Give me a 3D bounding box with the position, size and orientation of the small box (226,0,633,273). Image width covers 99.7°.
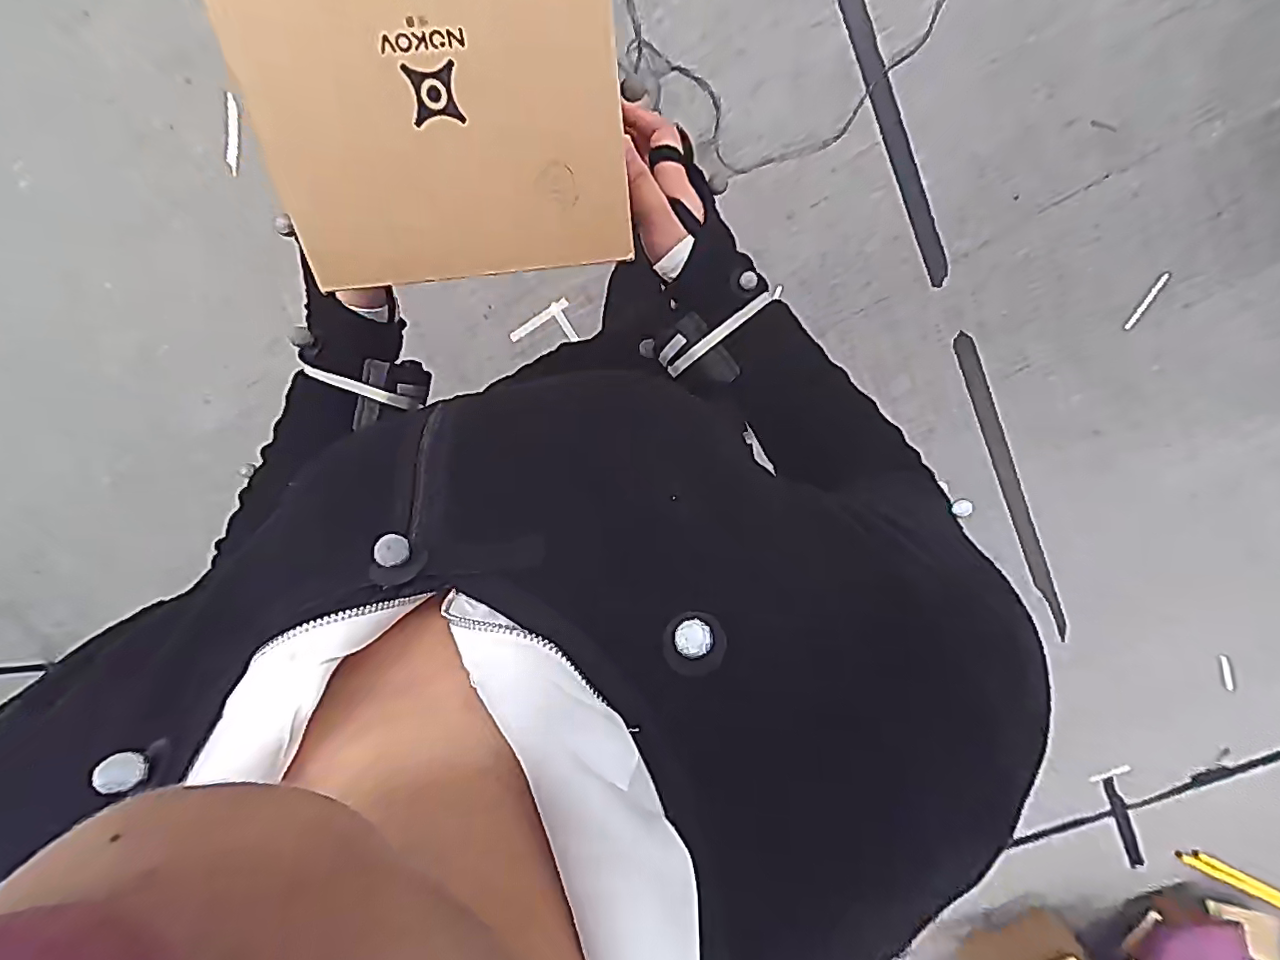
[{"bbox_3d":[-0.096,-0.232,0.305,0.168,0.176,0.179,-7,122,-3],"label":"small box"}]
